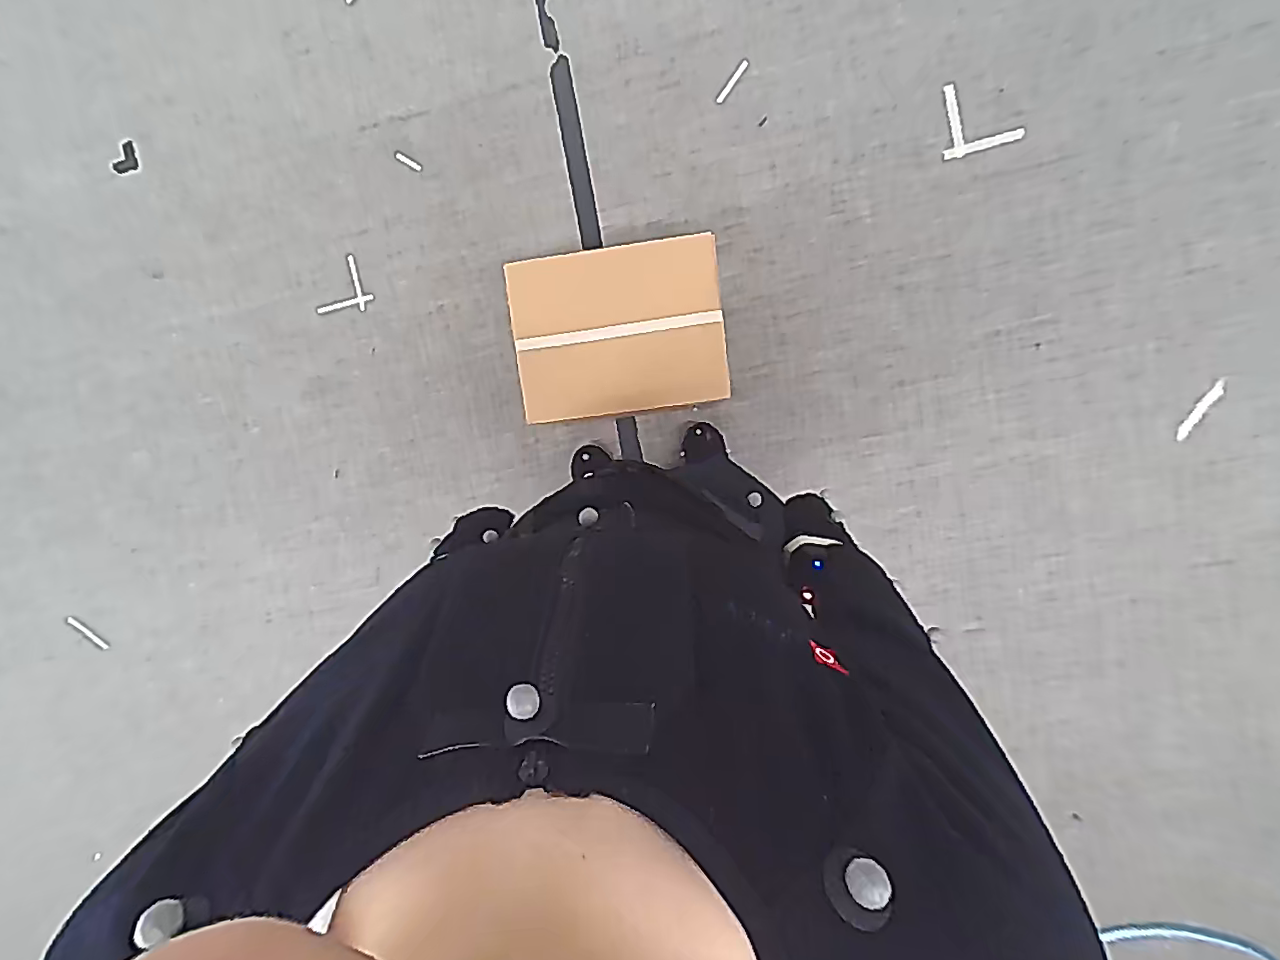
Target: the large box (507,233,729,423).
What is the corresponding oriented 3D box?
[{"bbox_3d":[-0.032,-0.307,1.191,0.408,0.320,0.320,-7,95,5],"label":"large box"}]
